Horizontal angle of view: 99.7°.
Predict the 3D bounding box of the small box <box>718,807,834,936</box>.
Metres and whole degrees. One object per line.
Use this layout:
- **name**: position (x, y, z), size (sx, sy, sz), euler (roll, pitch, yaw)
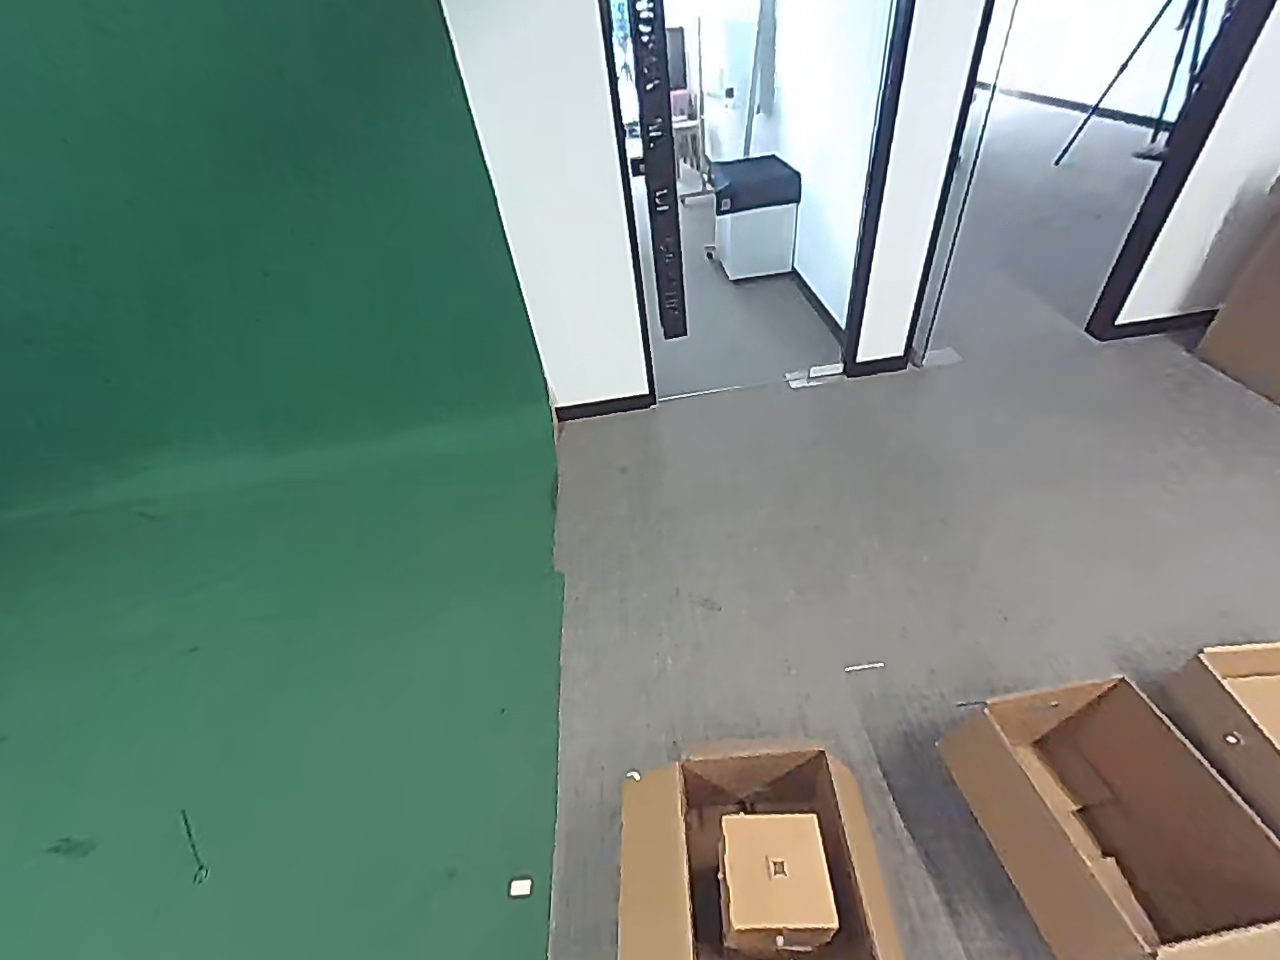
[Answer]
- **small box**: position (0.240, 0.724, 1.001), size (0.179, 0.176, 0.168), euler (-4, 42, 4)
